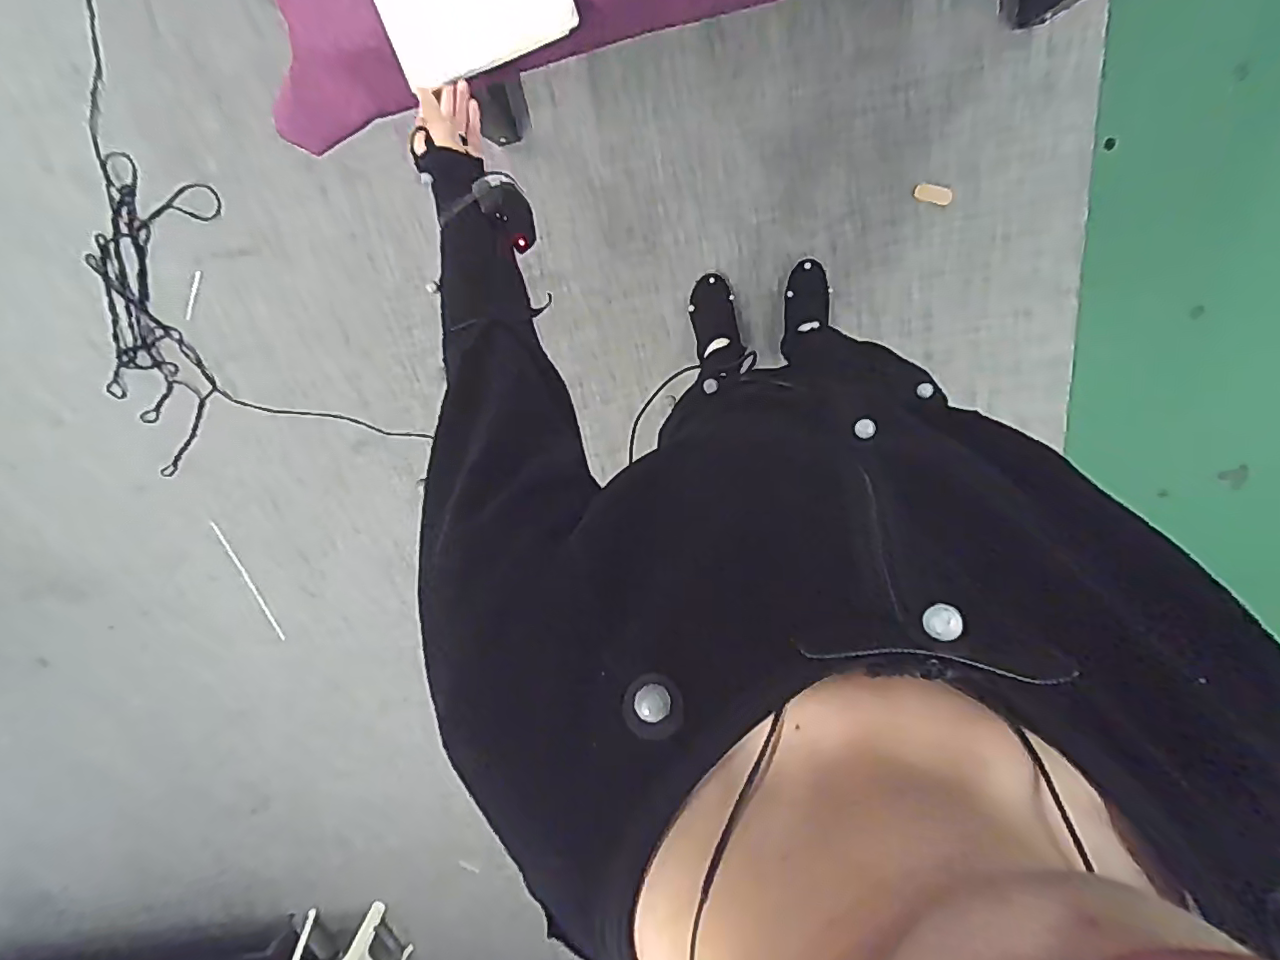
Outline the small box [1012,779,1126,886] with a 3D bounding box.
[{"bbox_3d":[1.151,0.945,1.459,0.179,0.176,0.168,-20,108,12],"label":"small box"}]
